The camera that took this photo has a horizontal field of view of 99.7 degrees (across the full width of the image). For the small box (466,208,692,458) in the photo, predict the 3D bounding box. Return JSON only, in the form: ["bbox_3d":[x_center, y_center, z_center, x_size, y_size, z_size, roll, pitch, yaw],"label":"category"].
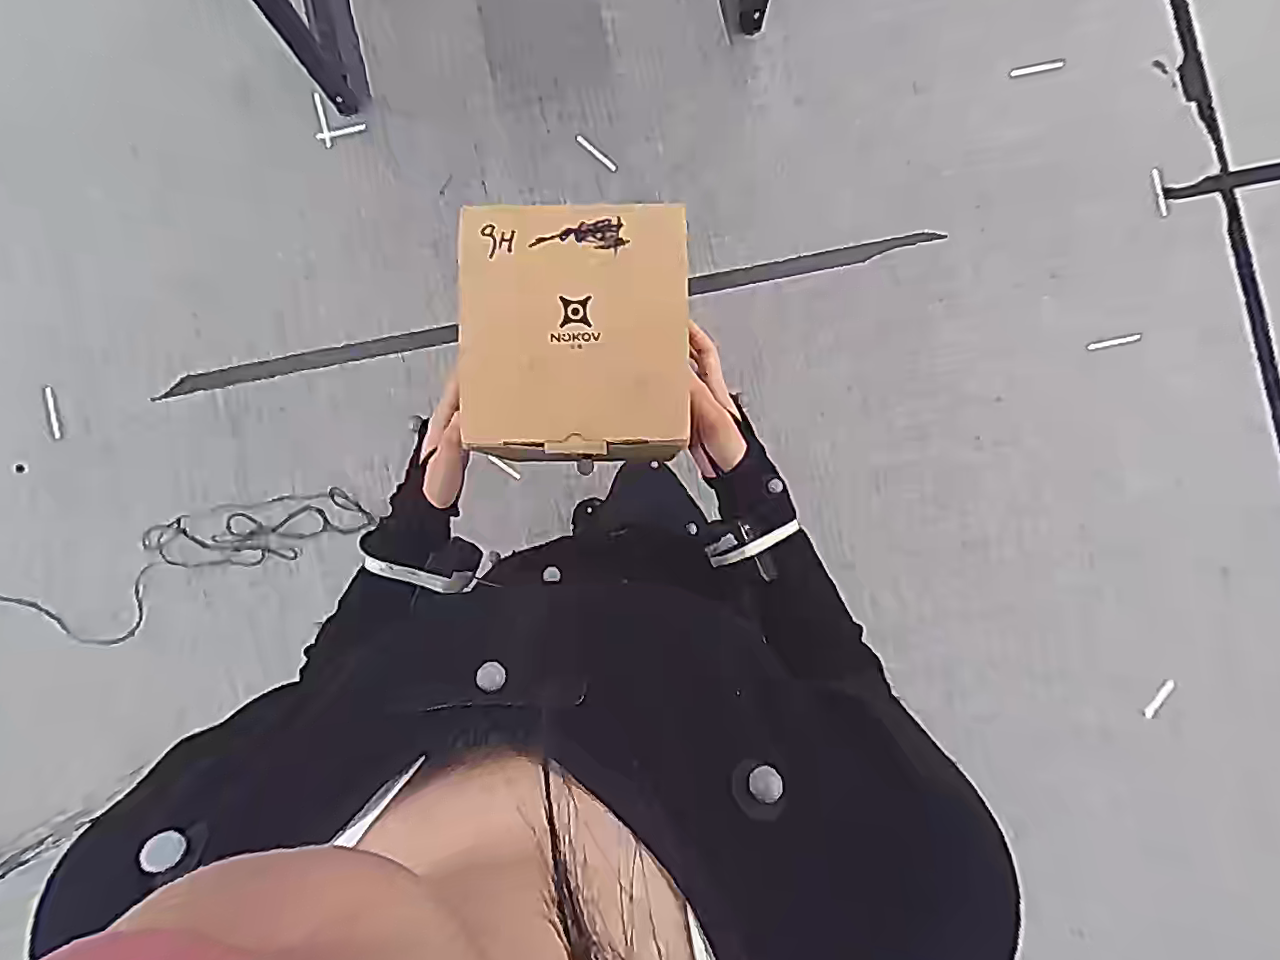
[{"bbox_3d":[-0.046,-0.109,0.472,0.168,0.176,0.179,0,89,-3],"label":"small box"}]

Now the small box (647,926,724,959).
[{"bbox_3d":[0.110,1.177,1.249,0.179,0.176,0.168,-2,88,-2],"label":"small box"}]

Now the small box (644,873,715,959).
[{"bbox_3d":[0.102,1.172,1.413,0.179,0.176,0.168,-6,89,-2],"label":"small box"}]
